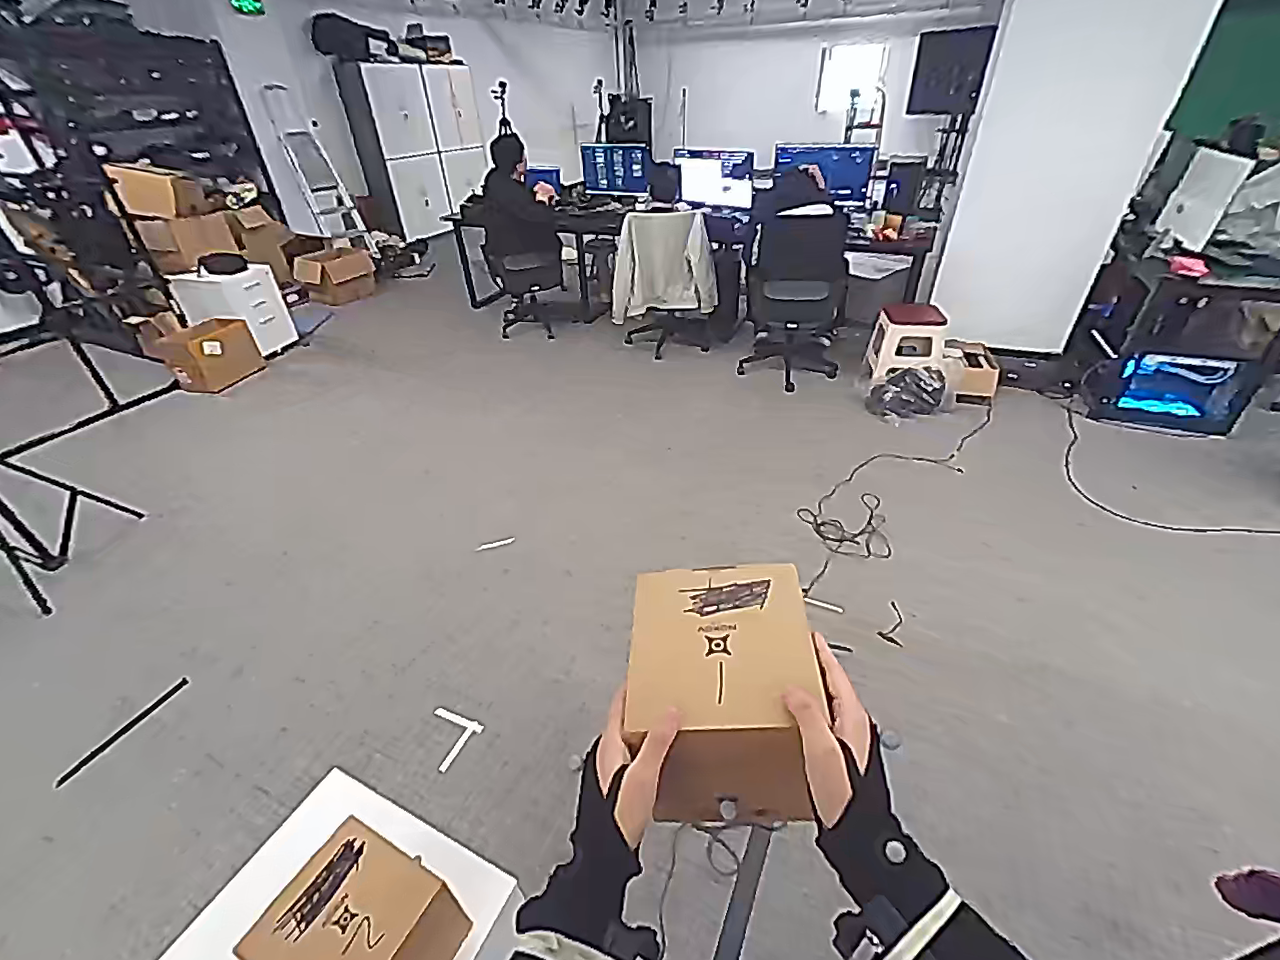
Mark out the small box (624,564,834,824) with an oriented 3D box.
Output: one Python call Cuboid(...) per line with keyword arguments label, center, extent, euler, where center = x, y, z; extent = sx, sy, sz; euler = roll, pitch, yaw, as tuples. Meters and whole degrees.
Cuboid(label="small box", center=(0.086, 0.207, 0.534), extent=(0.168, 0.176, 0.179), euler=(-6, 36, 9))
